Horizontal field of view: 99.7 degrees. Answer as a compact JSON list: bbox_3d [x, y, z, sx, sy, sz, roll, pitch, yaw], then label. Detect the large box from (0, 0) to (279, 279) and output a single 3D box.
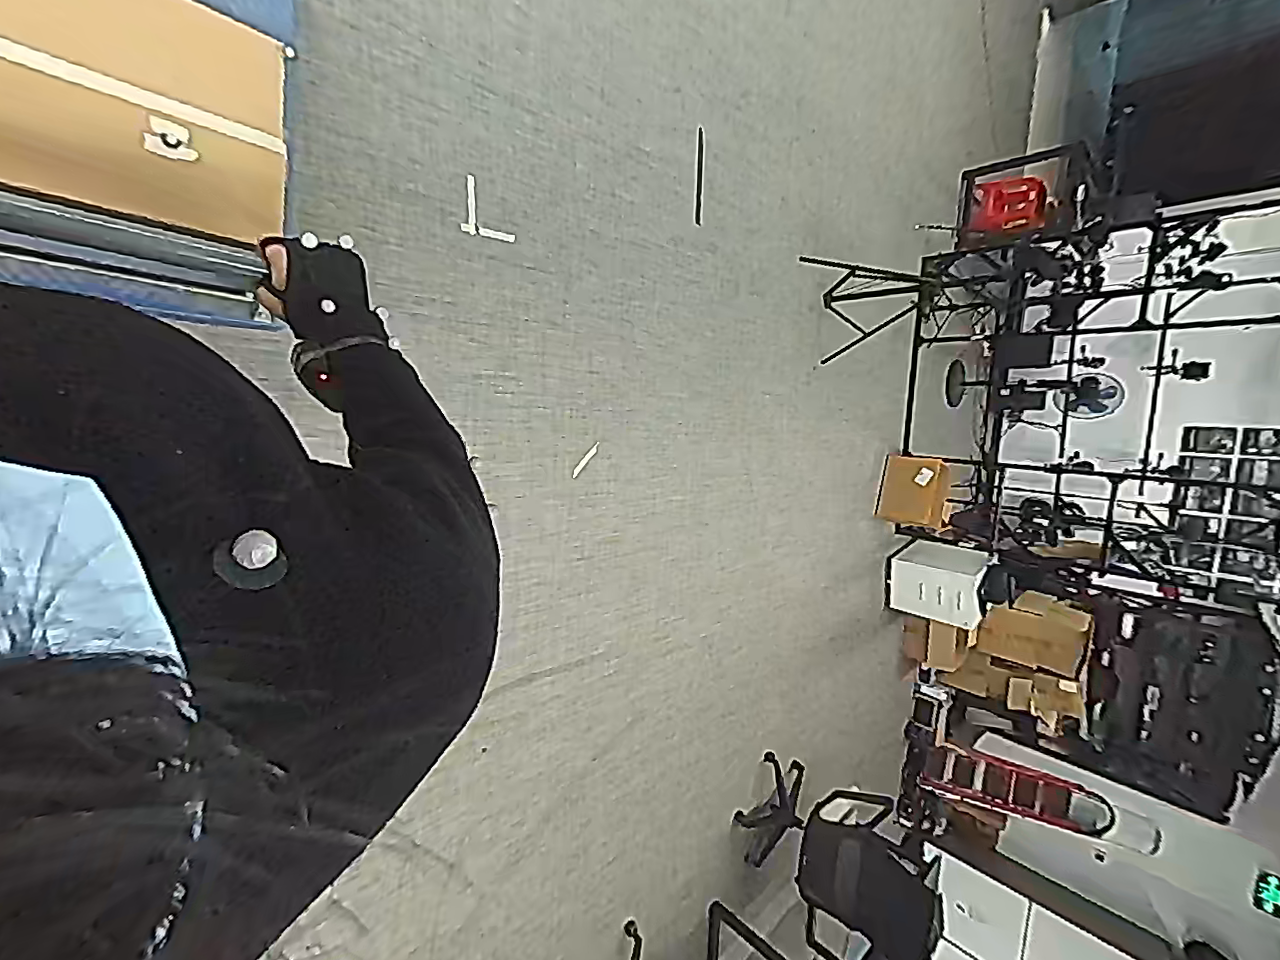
[{"bbox_3d":[-0.815,-0.524,0.810,0.408,0.320,0.320,-1,98,-46],"label":"large box"}]
